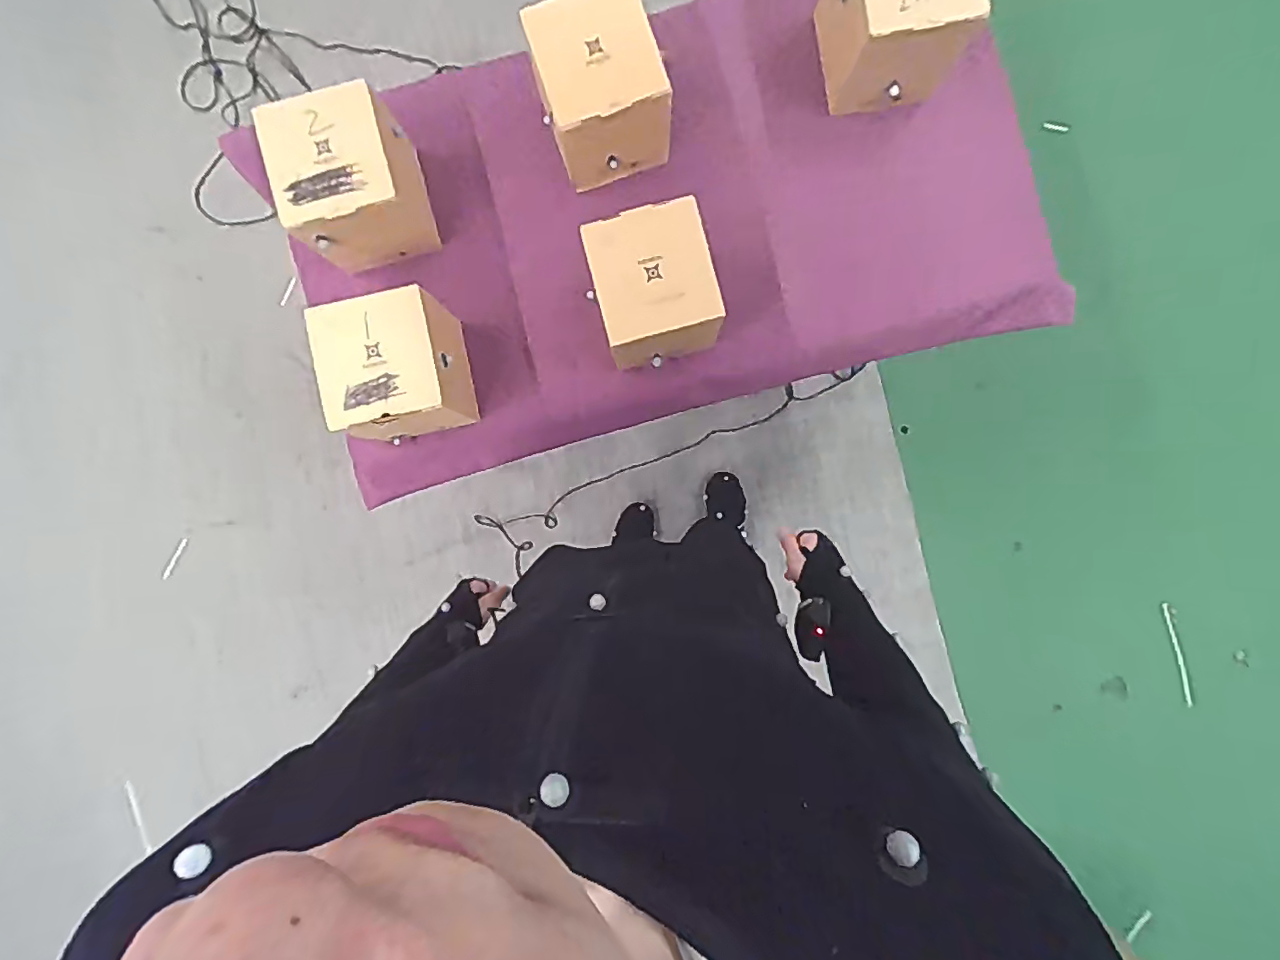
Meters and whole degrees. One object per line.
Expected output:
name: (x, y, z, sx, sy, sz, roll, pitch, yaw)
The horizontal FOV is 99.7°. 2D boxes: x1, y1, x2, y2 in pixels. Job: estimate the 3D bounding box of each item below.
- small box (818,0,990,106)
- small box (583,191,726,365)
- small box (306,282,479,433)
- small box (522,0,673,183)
small box: (0.378, -0.708, 0.804, 0.168, 0.176, 0.179, -9, 92, 2)
small box: (0.021, -0.292, 0.817, 0.168, 0.176, 0.179, -15, 90, 2)
small box: (-0.360, -0.171, 0.820, 0.168, 0.176, 0.179, -13, 89, 0)
small box: (-0.060, -0.594, 0.814, 0.168, 0.176, 0.179, -20, 92, 1)
